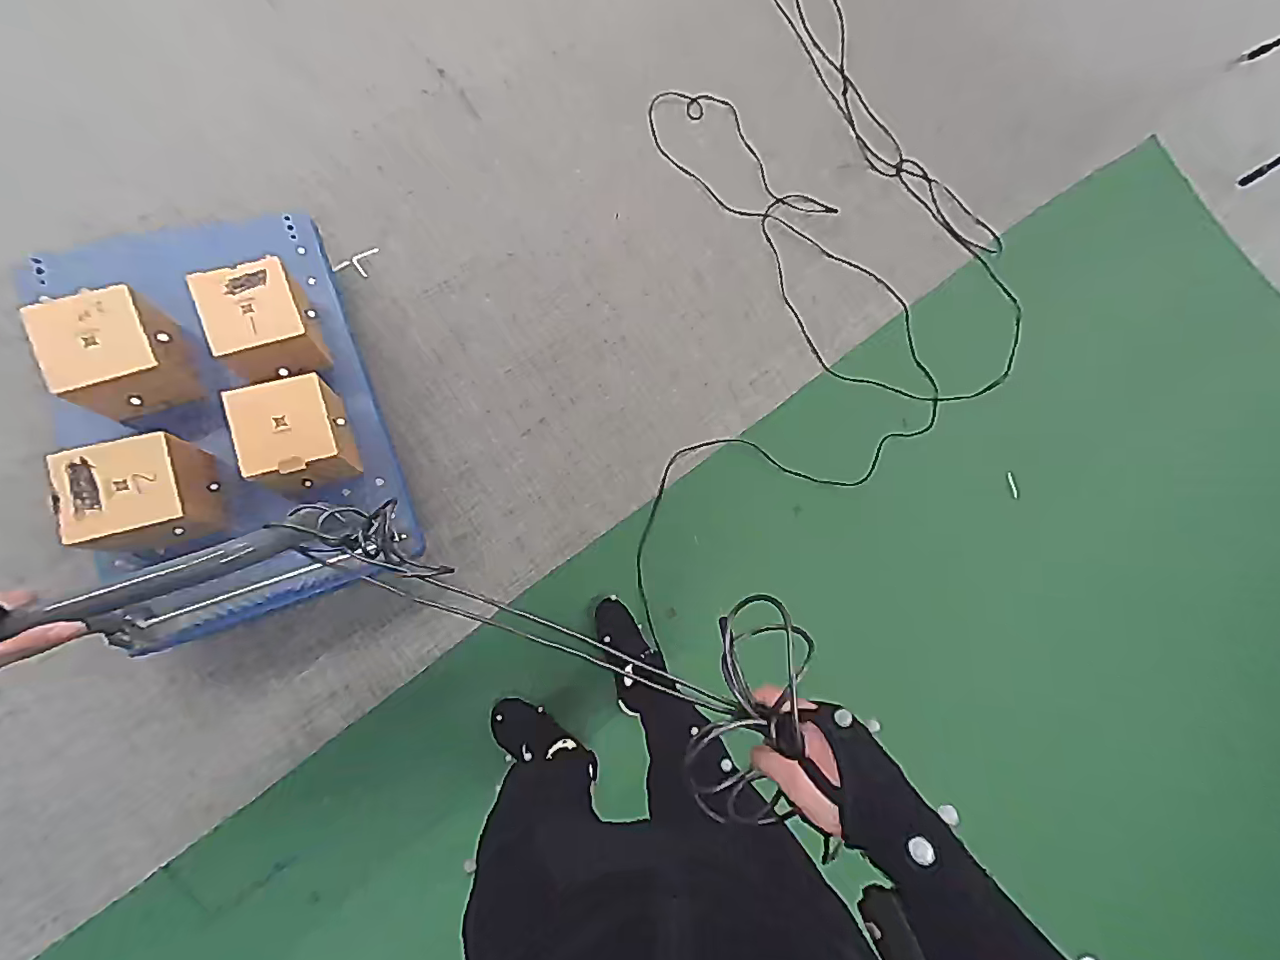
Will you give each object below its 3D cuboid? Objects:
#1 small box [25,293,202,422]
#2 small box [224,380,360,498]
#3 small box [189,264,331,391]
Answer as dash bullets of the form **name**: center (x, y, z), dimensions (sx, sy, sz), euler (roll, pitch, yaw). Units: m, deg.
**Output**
- **small box**: center (-1.010, -0.228, 1.056), dimensions (0.168, 0.176, 0.179), euler (-23, 85, -17)
- **small box**: center (-0.697, -0.078, 1.099), dimensions (0.168, 0.176, 0.179), euler (-18, 84, -15)
- **small box**: center (-0.779, -0.311, 1.126), dimensions (0.168, 0.176, 0.179), euler (-21, 85, -15)
